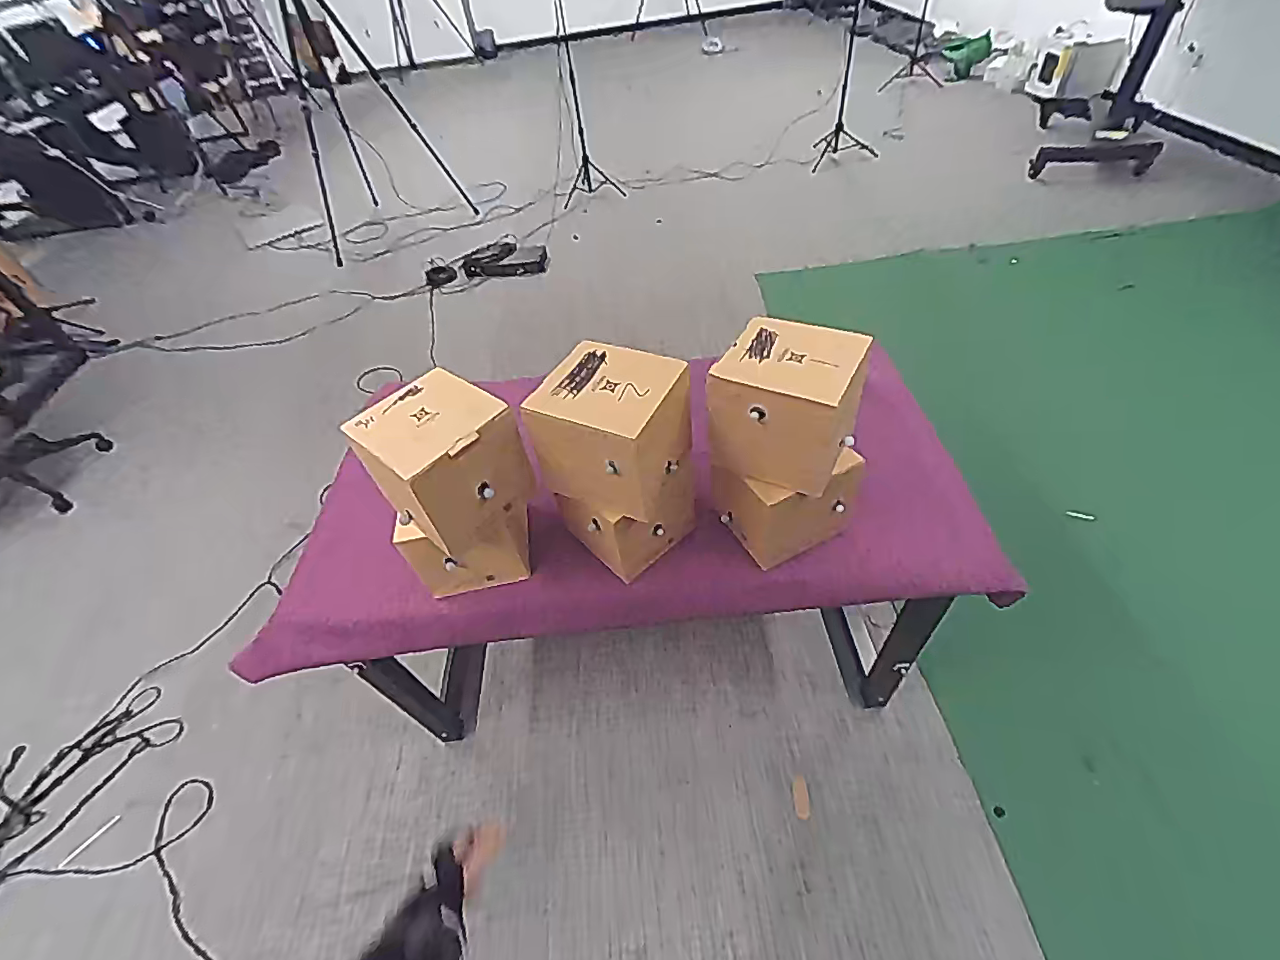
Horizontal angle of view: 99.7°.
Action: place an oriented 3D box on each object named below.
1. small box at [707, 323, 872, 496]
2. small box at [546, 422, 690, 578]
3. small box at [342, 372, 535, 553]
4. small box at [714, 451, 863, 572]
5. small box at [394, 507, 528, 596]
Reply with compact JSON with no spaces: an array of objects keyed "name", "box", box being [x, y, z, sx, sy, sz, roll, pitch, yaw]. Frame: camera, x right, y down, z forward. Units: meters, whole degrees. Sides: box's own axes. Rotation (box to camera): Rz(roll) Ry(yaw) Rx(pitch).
[{"name":"small box","box":[0.211,-0.102,0.788,0.179,0.176,0.168,20,52,25]},{"name":"small box","box":[-0.029,0.039,0.911,0.168,0.176,0.179,-35,52,-24]},{"name":"small box","box":[-0.277,-0.020,0.780,0.179,0.176,0.168,30,56,30]},{"name":"small box","box":[0.232,0.019,0.897,0.179,0.176,0.168,-24,47,-12]},{"name":"small box","box":[-0.290,0.078,0.915,0.168,0.176,0.179,-12,46,-3]}]
